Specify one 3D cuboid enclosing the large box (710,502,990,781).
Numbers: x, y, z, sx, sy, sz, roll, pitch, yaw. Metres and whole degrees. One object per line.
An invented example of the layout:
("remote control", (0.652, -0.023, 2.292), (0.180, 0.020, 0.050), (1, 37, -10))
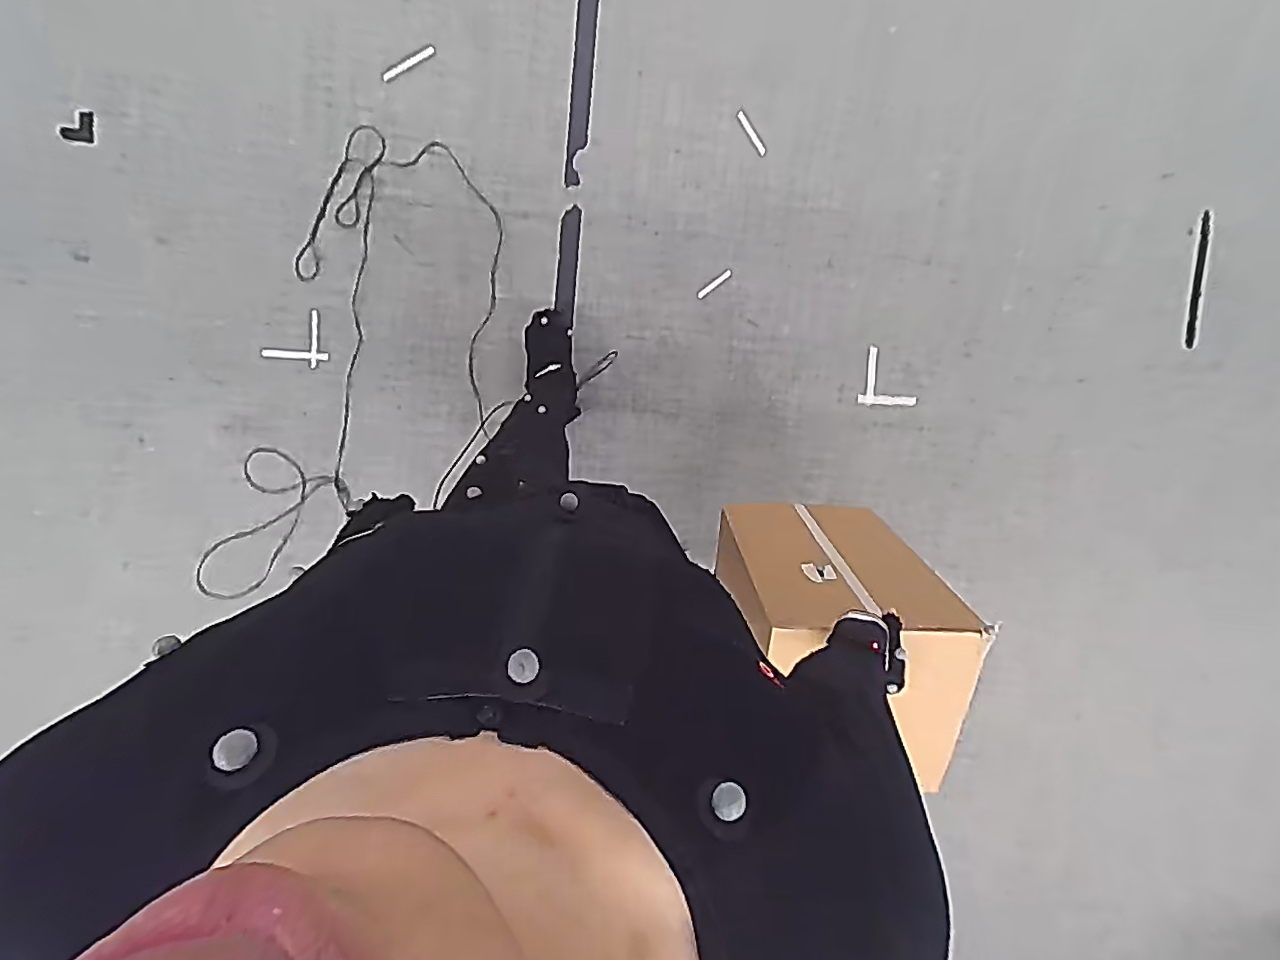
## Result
("large box", (0.326, 0.267, 0.991), (0.320, 0.408, 0.320), (1, 113, -3))
